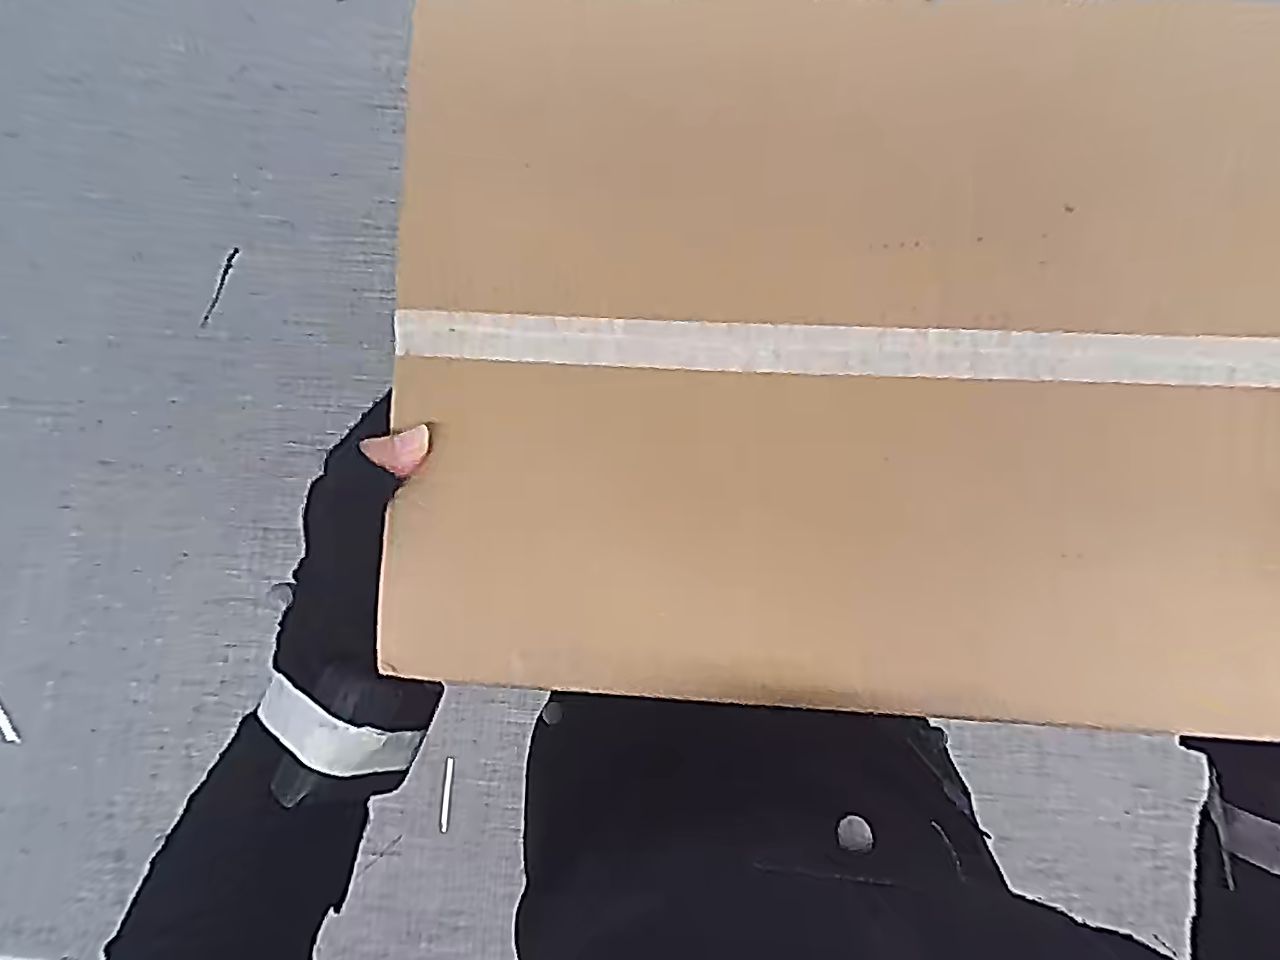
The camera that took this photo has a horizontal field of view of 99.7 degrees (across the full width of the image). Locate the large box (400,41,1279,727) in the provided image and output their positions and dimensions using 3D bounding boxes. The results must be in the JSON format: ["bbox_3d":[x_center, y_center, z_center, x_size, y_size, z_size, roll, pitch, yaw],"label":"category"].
[{"bbox_3d":[0.097,-0.048,0.398,0.408,0.320,0.320,3,88,3],"label":"large box"}]
